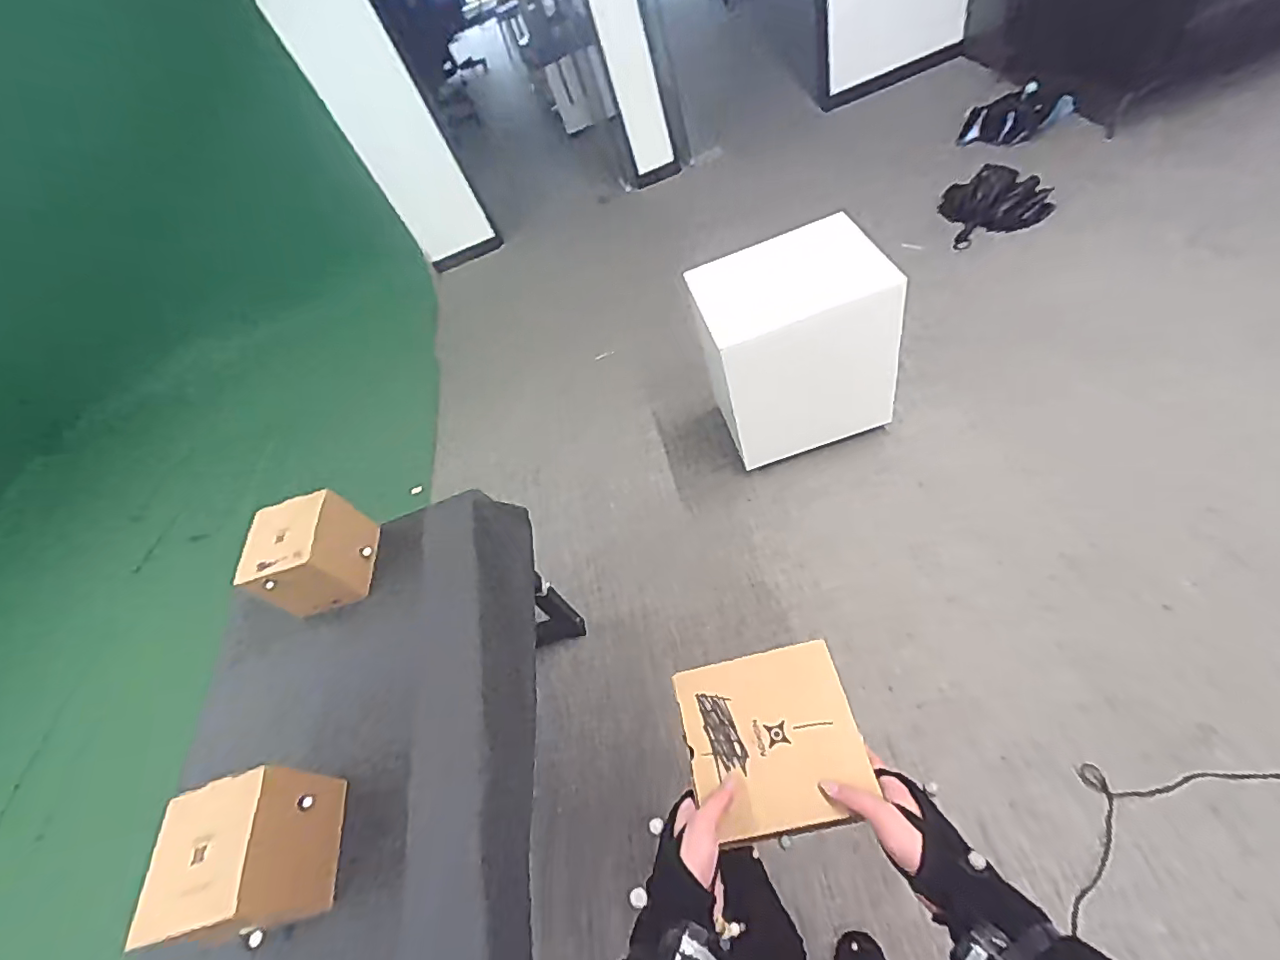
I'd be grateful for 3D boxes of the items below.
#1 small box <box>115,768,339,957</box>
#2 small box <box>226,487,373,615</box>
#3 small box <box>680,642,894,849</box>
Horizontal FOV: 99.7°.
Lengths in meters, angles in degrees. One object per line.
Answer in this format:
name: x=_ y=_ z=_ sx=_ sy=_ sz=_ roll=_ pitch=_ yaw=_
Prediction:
small box: x=-0.561 y=0.537 z=0.767 sx=0.168 sy=0.176 sz=0.179 roll=-21 pitch=52 yaw=5
small box: x=-0.669 y=0.147 z=1.090 sx=0.168 sy=0.176 sz=0.179 roll=-16 pitch=51 yaw=7
small box: x=0.156 y=0.304 z=0.608 sx=0.179 sy=0.176 sz=0.168 roll=-14 pitch=54 yaw=5
